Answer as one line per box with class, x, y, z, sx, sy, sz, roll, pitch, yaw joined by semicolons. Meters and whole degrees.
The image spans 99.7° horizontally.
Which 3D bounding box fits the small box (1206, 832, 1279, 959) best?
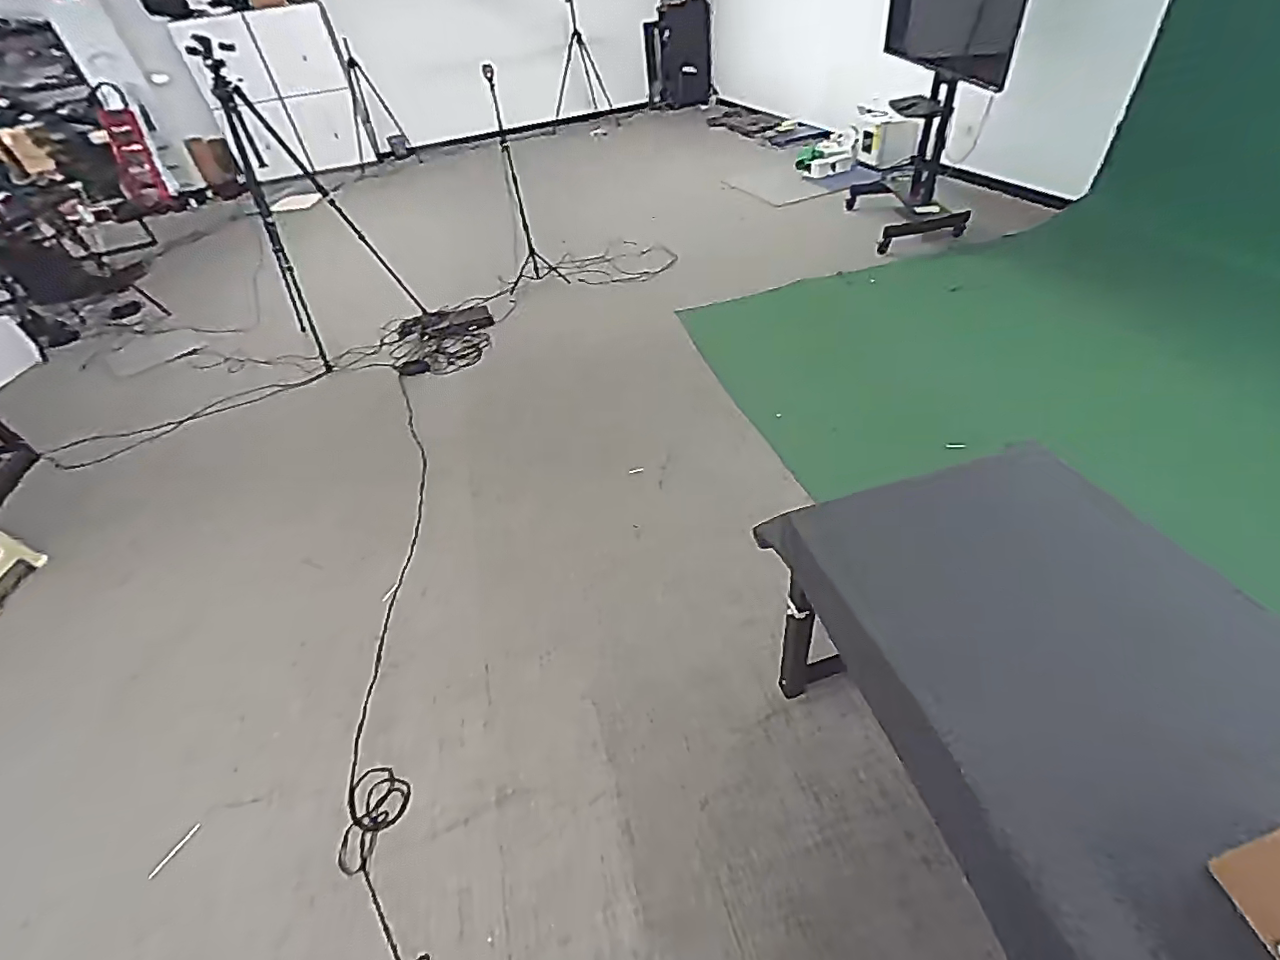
small box;0.763;0.456;0.544;0.168;0.176;0.179;-10;43;-1
